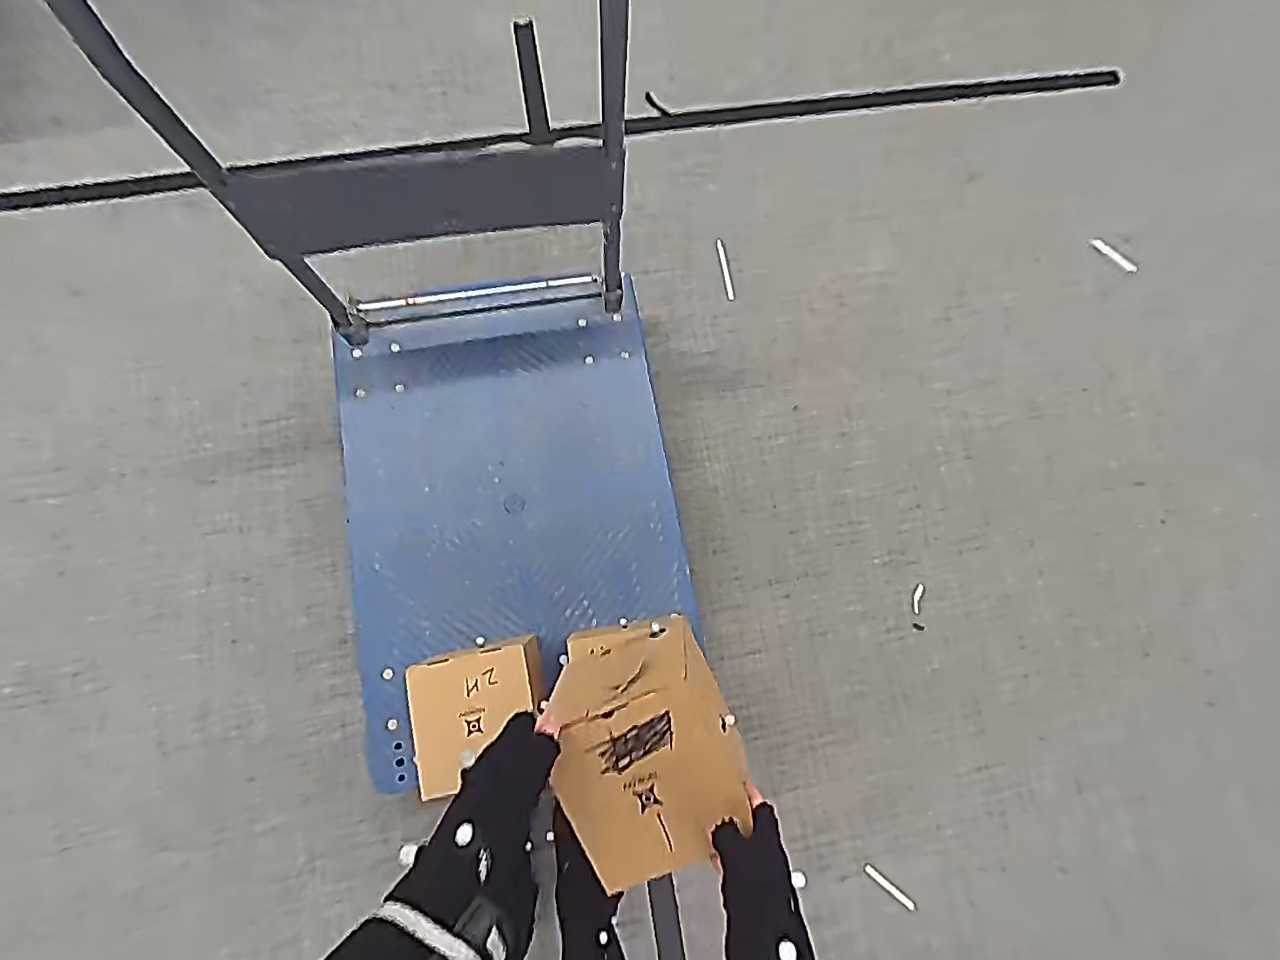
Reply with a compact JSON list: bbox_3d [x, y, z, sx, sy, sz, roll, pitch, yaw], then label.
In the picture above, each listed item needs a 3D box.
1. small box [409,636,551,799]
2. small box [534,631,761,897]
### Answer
[{"bbox_3d":[-0.233,0.348,0.827,0.168,0.176,0.179,-10,79,-6],"label":"small box"},{"bbox_3d":[0.011,0.287,0.591,0.168,0.176,0.179,-26,95,7],"label":"small box"}]
